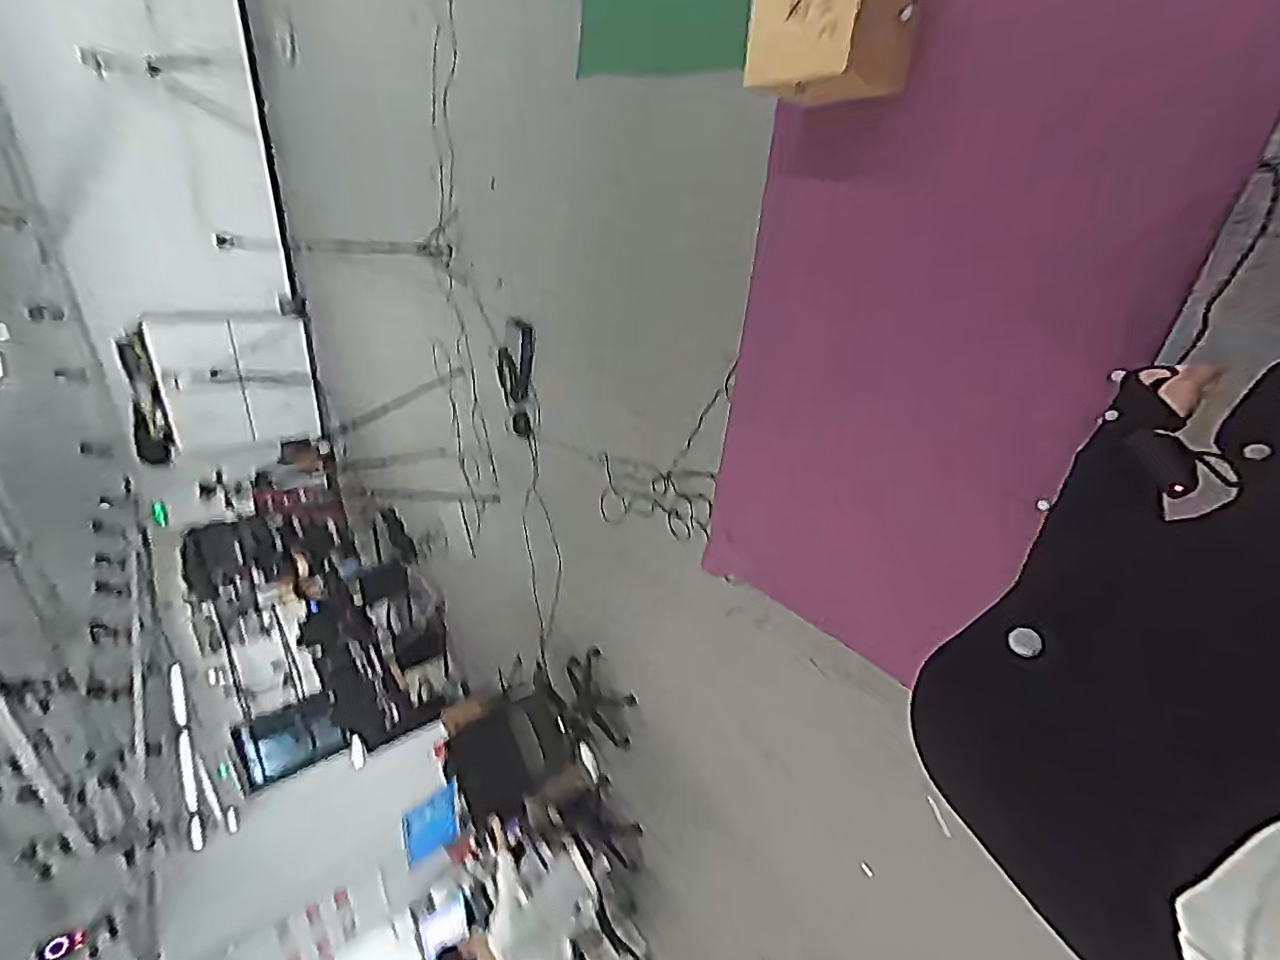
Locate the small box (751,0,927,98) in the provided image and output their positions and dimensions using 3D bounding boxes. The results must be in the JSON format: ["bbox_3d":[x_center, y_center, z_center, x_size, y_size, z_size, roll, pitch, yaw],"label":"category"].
[{"bbox_3d":[0.294,-0.679,0.797,0.179,0.176,0.168,30,129,42],"label":"small box"}]
